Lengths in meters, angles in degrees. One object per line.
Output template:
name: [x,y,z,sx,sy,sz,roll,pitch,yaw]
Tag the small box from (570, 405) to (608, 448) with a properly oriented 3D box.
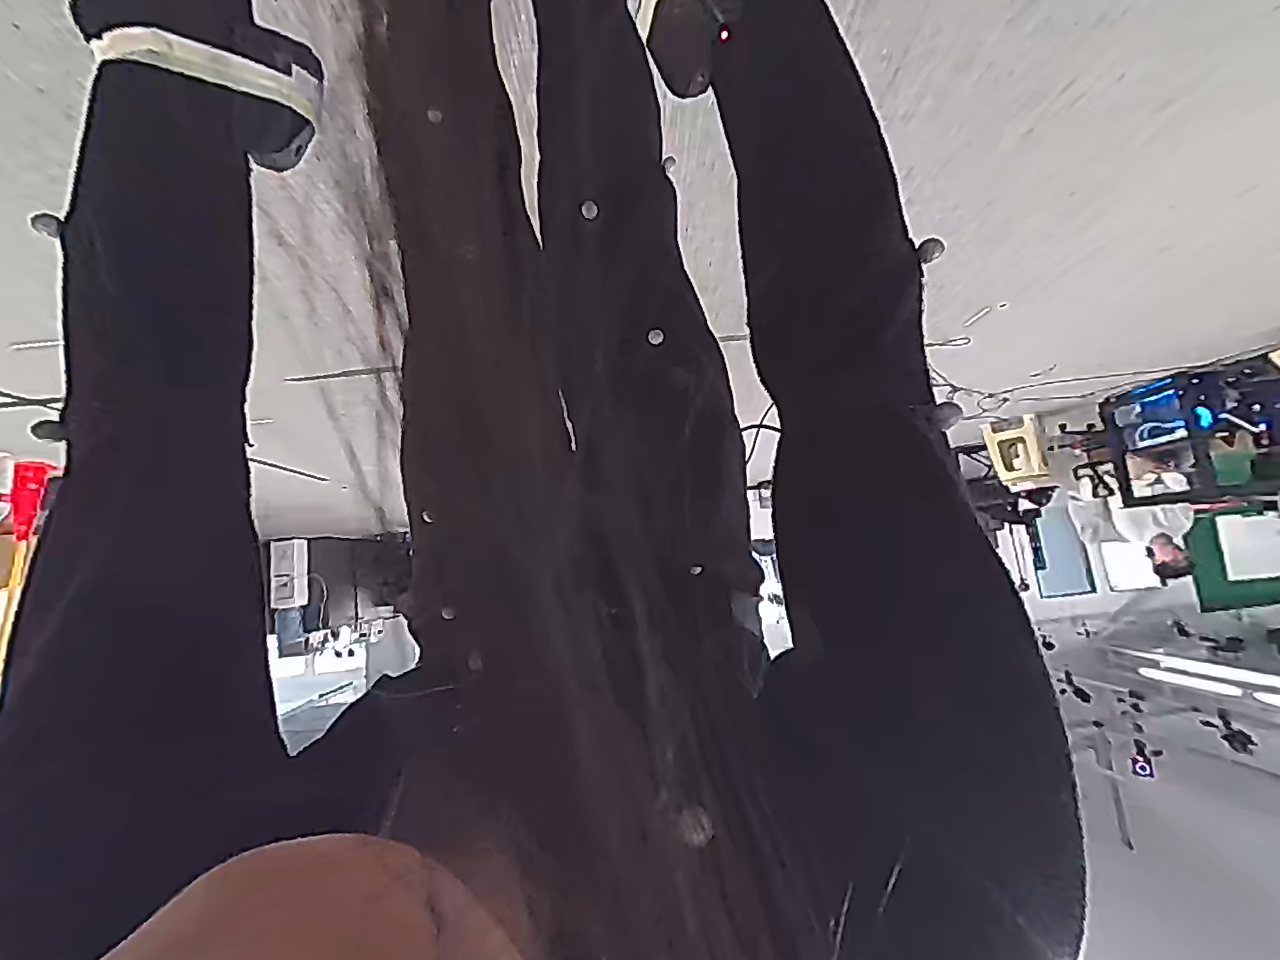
small box: [-0.242,-0.260,2.590,0.168,0.176,0.179,-5,172,-4]
